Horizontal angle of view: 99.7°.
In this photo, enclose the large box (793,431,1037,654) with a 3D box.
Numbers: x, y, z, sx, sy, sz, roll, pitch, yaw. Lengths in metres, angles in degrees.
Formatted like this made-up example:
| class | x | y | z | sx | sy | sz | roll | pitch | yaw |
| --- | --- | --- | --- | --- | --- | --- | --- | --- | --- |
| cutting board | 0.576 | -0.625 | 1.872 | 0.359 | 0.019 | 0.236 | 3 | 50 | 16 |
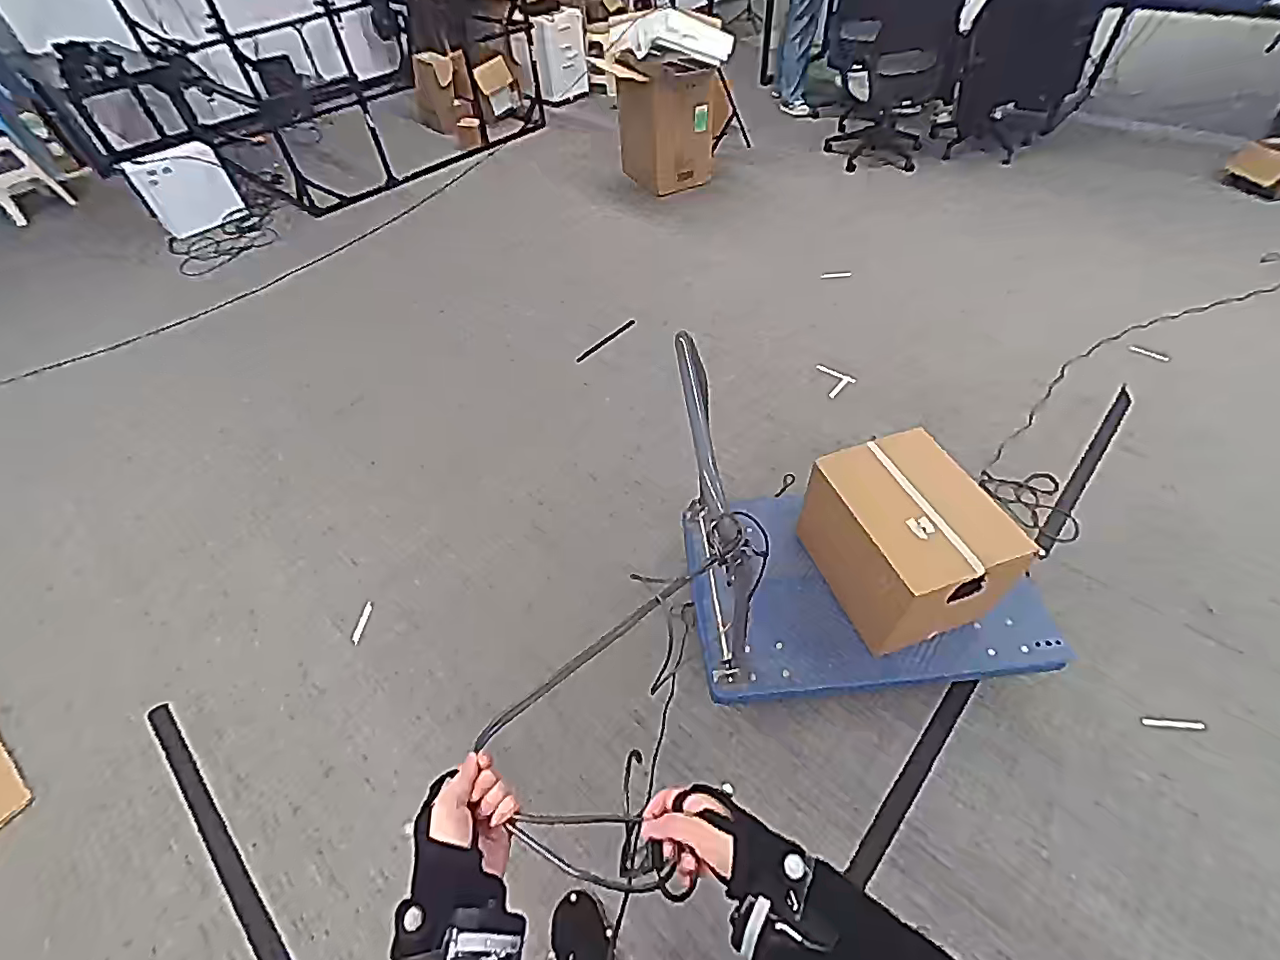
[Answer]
| class | x | y | z | sx | sy | sz | roll | pitch | yaw |
| --- | --- | --- | --- | --- | --- | --- | --- | --- | --- |
| large box | 0.636 | 0.150 | 1.344 | 0.320 | 0.320 | 0.408 | -17 | 51 | -9 |
